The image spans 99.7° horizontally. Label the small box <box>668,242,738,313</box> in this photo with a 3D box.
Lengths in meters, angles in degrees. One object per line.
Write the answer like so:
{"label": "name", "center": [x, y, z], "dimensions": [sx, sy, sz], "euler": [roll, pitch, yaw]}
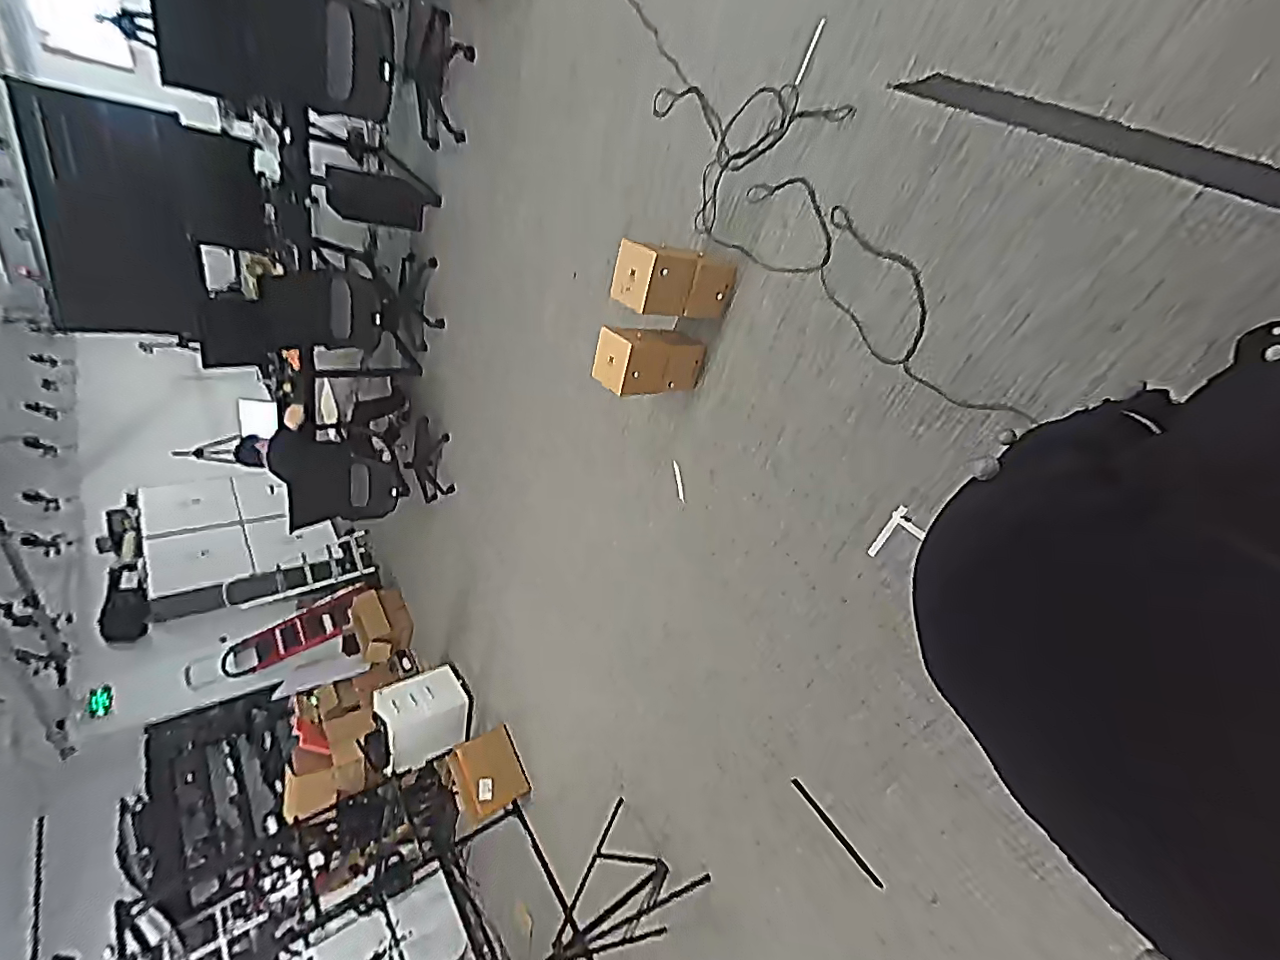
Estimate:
{"label": "small box", "center": [0.176, -0.636, 1.714], "dimensions": [0.179, 0.176, 0.168], "euler": [43, 130, 35]}

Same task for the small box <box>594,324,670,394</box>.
{"label": "small box", "center": [-0.024, -0.397, 1.761], "dimensions": [0.168, 0.176, 0.179], "euler": [41, 128, 37]}

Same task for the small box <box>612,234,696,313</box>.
{"label": "small box", "center": [0.044, -0.614, 1.617], "dimensions": [0.168, 0.176, 0.179], "euler": [42, 130, 37]}
